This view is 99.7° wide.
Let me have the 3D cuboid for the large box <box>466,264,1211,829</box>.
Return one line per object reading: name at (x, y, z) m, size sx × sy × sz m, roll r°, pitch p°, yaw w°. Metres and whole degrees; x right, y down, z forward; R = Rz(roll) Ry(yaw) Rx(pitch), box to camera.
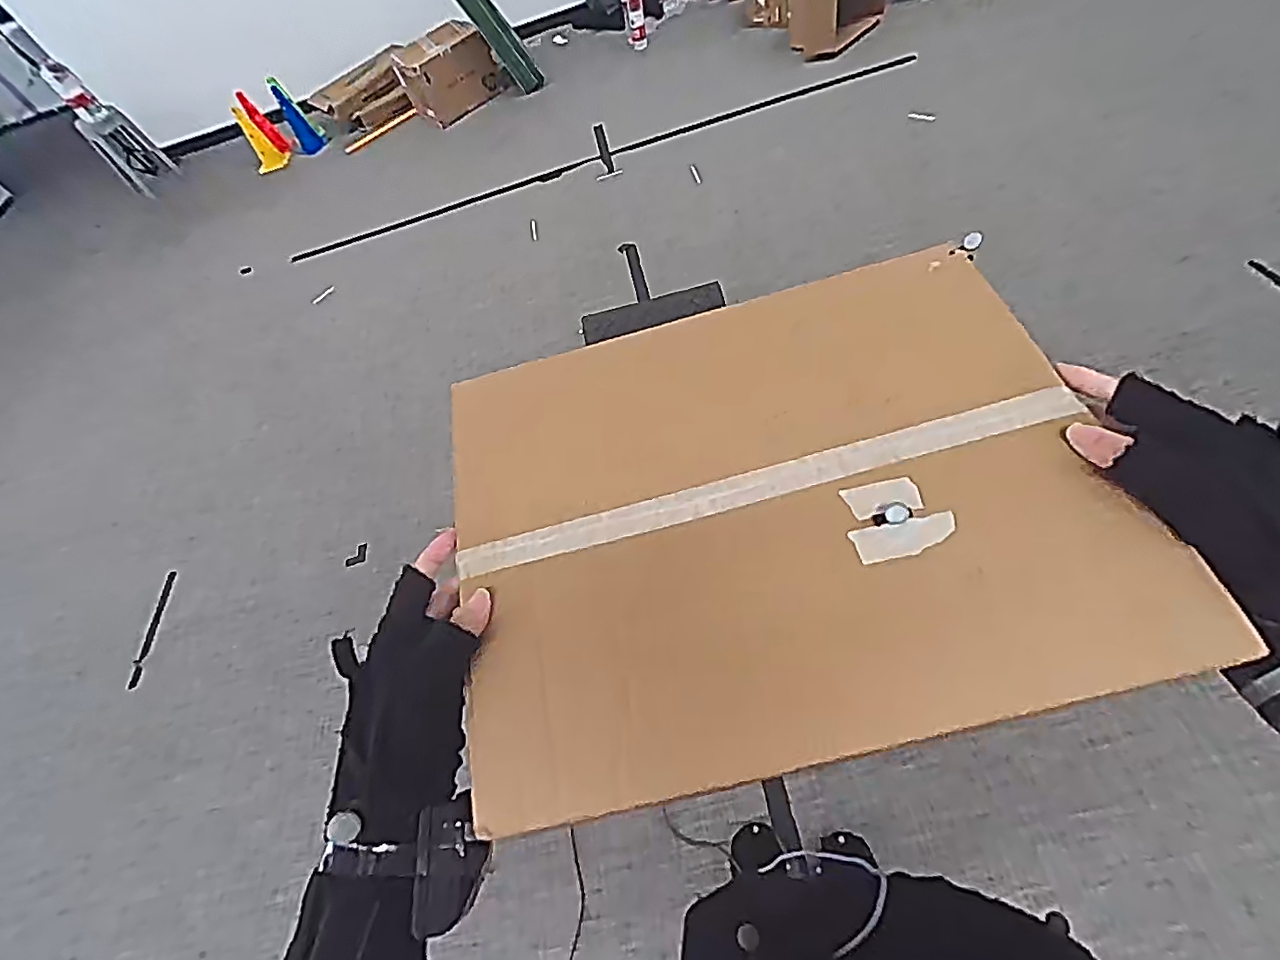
large box at (0.103, 0.079, 0.491) m, size 0.408 × 0.320 × 0.320 m, roll -15°, pitch 62°, yaw 2°
